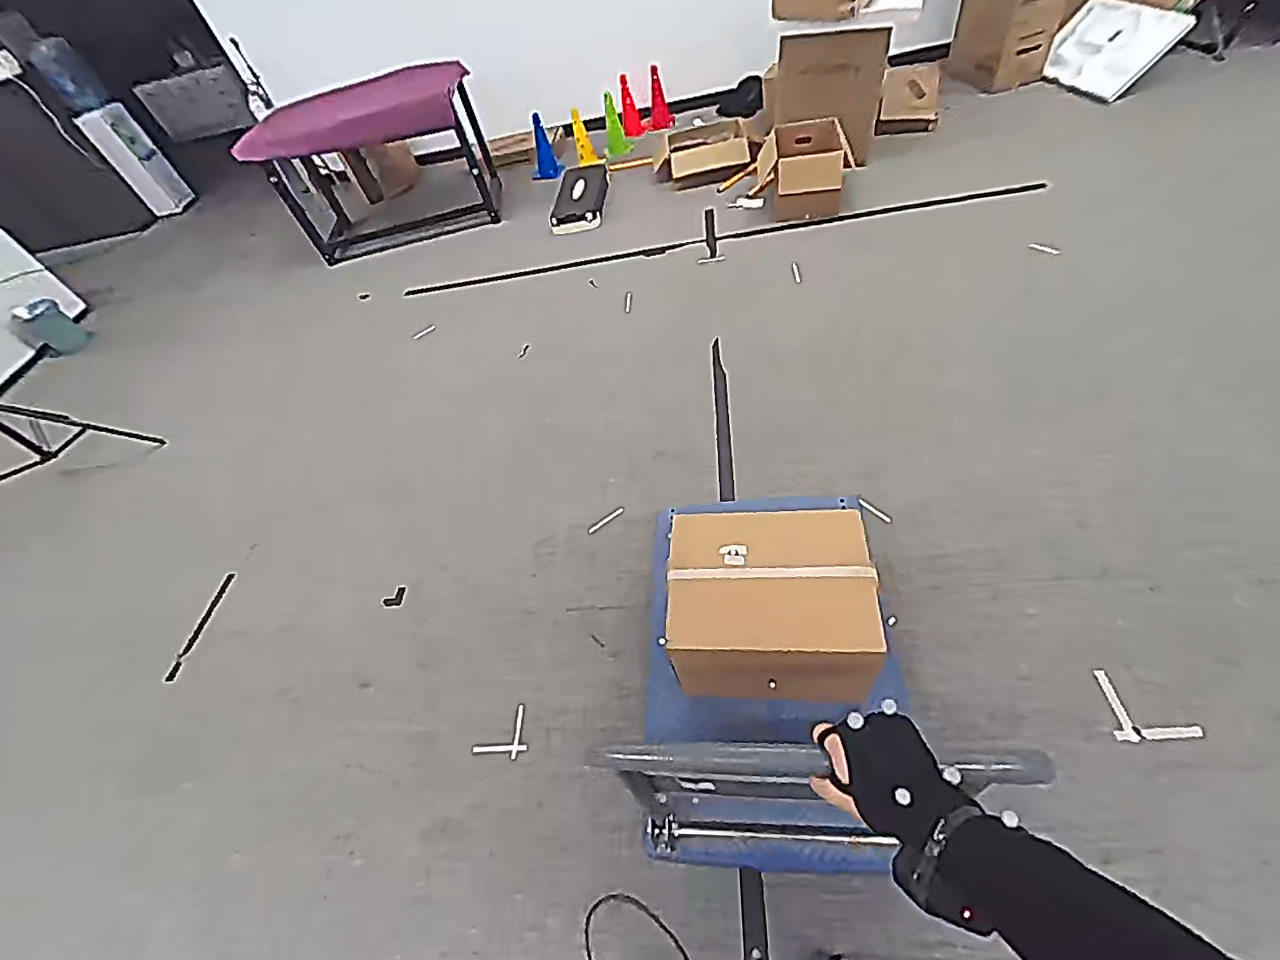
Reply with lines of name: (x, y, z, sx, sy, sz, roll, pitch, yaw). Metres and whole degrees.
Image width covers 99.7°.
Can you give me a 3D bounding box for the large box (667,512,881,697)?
large box: (0.289, 0.292, 1.226, 0.408, 0.320, 0.320, -3, 51, 12)
